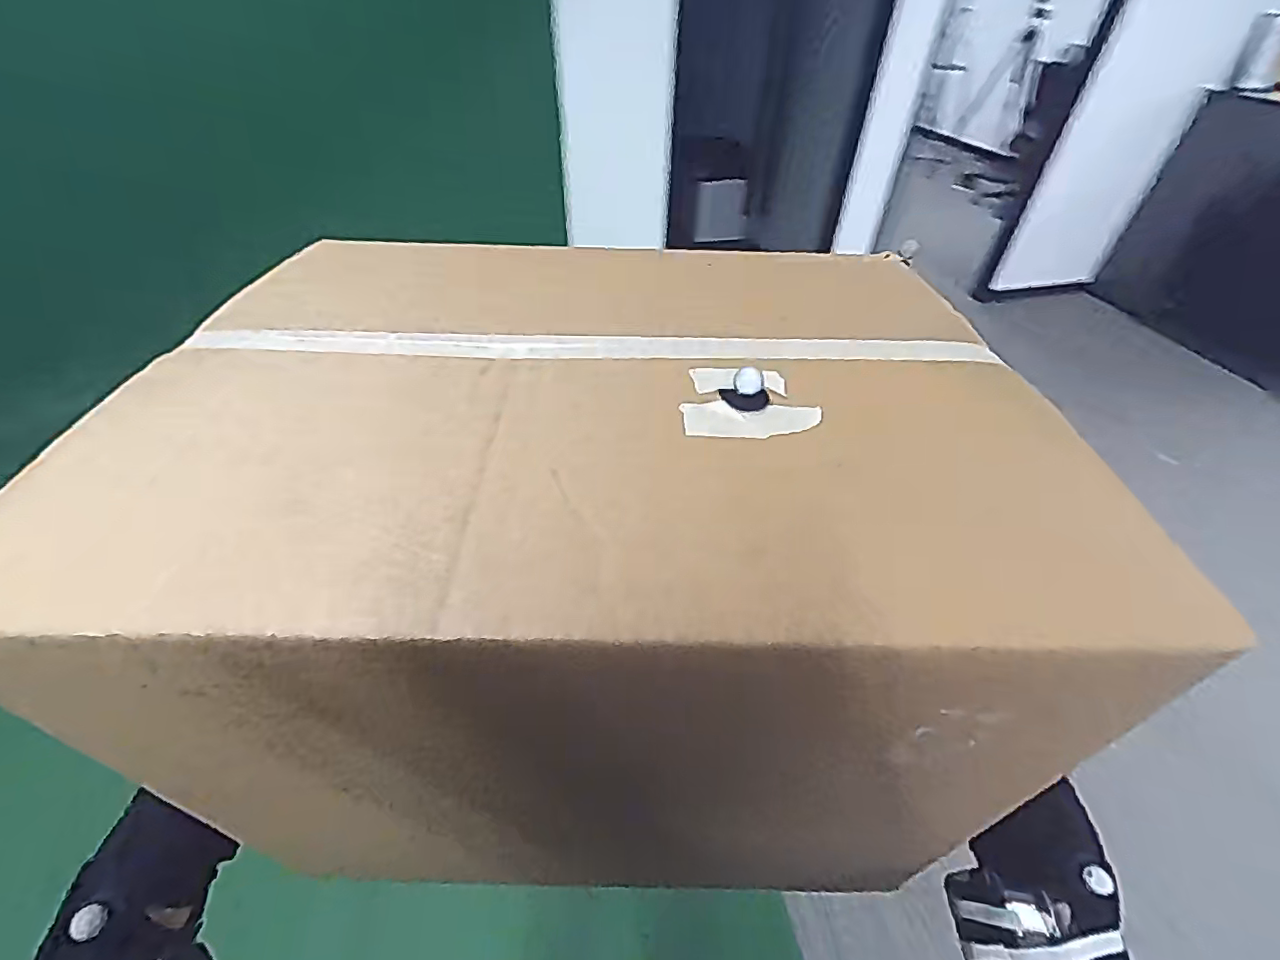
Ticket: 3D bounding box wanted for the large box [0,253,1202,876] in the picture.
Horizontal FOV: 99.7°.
[{"bbox_3d":[-0.014,0.055,0.384,0.408,0.320,0.320,3,43,0],"label":"large box"}]
